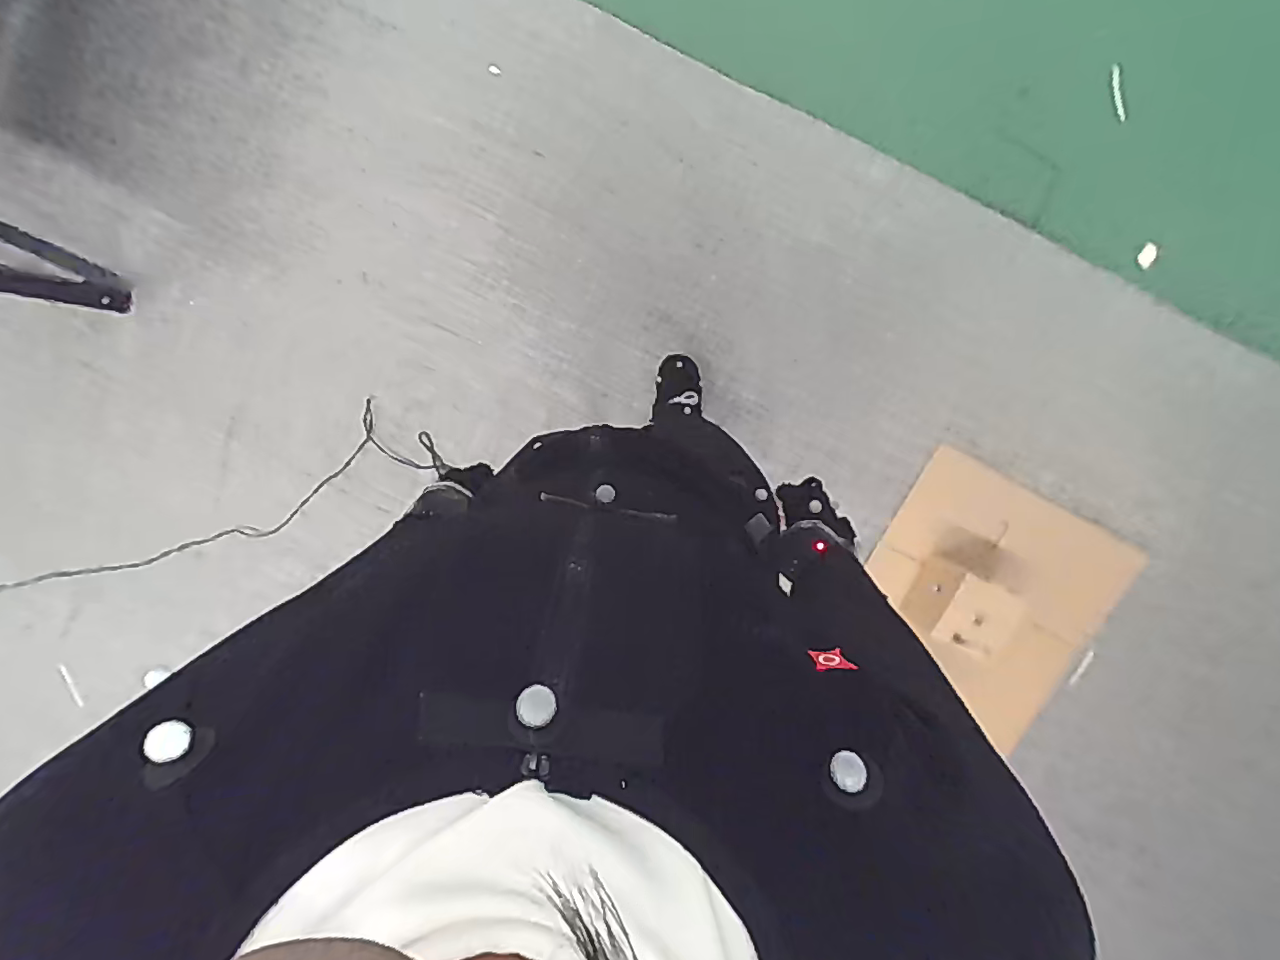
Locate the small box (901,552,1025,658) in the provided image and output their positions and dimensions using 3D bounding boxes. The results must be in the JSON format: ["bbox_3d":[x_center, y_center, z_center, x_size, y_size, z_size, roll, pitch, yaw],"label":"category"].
[{"bbox_3d":[0.781,0.297,1.330,0.168,0.176,0.179,24,97,-2],"label":"small box"}]
